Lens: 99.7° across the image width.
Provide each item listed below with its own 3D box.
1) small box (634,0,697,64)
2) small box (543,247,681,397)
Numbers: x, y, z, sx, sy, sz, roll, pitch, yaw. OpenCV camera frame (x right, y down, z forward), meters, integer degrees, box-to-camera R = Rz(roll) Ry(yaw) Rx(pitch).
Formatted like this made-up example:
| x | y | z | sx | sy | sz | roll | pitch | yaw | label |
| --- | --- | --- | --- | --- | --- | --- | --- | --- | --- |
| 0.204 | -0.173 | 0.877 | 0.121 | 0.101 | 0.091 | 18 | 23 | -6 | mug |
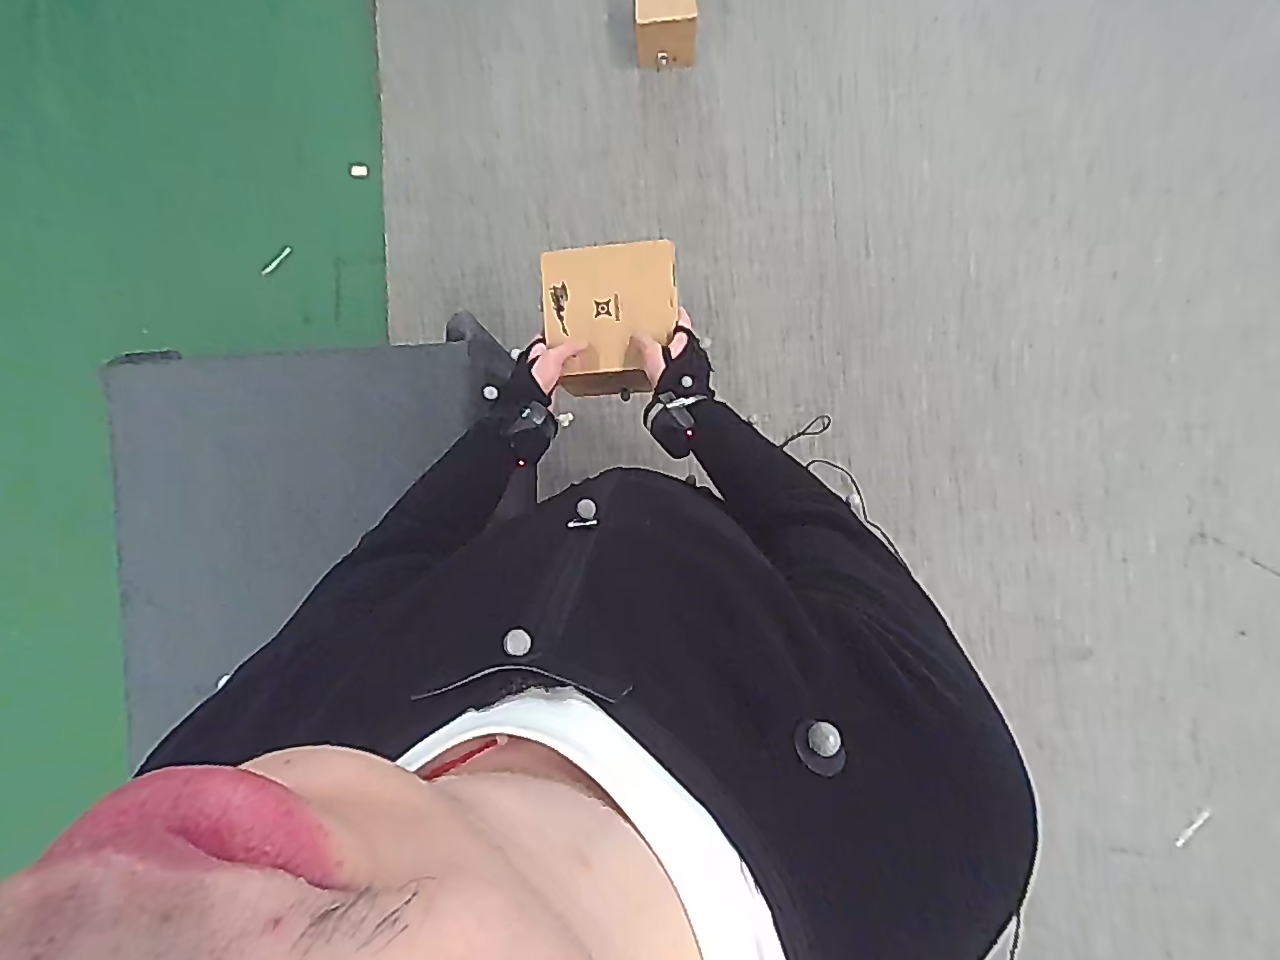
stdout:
| x | y | z | sx | sy | sz | roll | pitch | yaw | label |
| --- | --- | --- | --- | --- | --- | --- | --- | --- | --- |
| 0.071 | -1.295 | 1.486 | 0.168 | 0.176 | 0.179 | -1 | 90 | 5 | small box |
| -0.034 | -0.216 | 0.780 | 0.179 | 0.176 | 0.168 | -3 | 89 | 4 | small box |
